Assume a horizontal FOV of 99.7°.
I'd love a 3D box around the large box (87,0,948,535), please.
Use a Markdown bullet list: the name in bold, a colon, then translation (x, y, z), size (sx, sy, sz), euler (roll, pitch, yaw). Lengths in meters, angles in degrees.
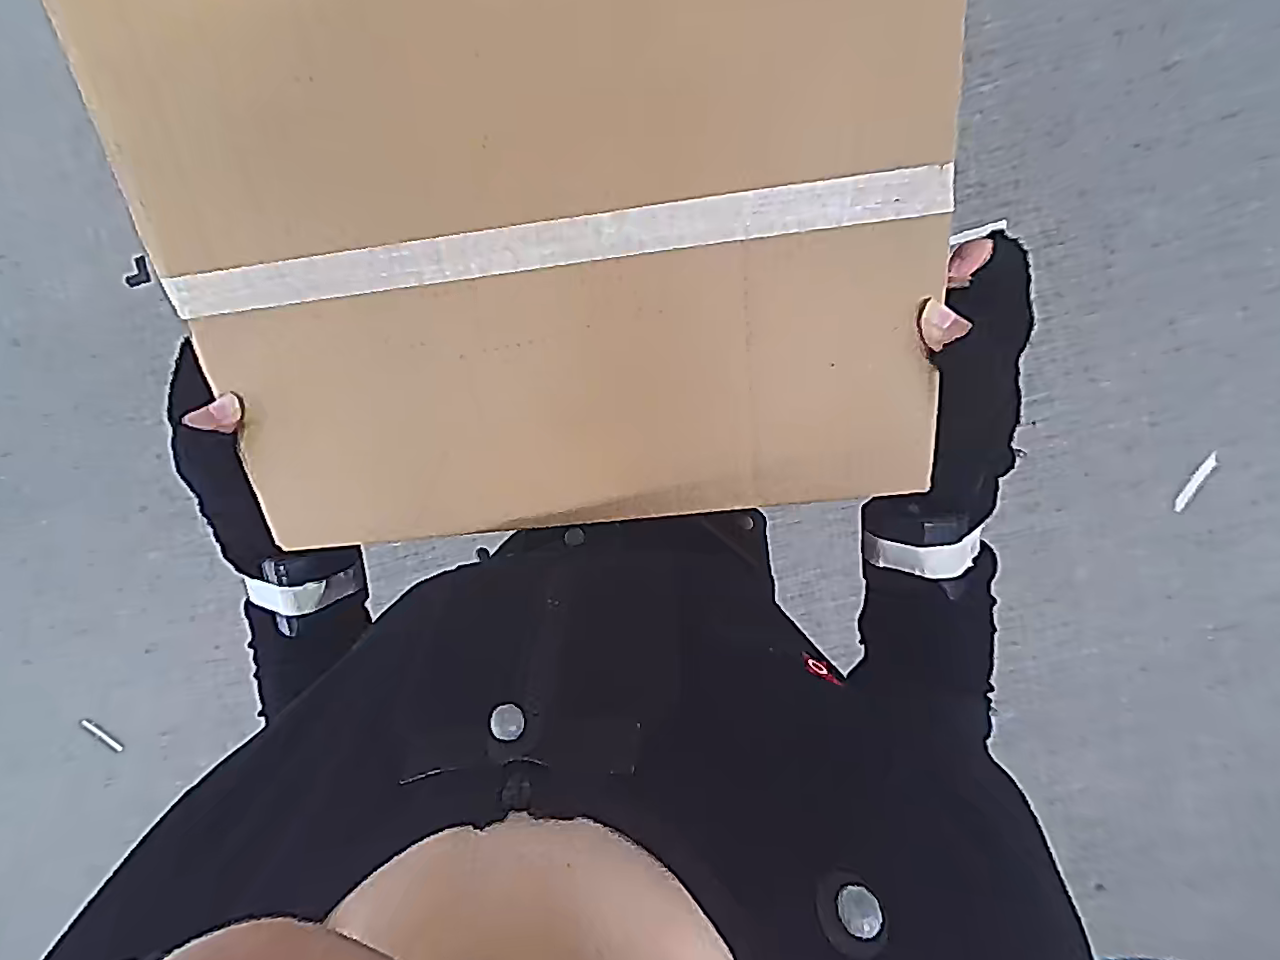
- **large box**: translation (-0.044, -0.179, 0.424), size (0.408, 0.320, 0.320), euler (-6, 112, 5)
